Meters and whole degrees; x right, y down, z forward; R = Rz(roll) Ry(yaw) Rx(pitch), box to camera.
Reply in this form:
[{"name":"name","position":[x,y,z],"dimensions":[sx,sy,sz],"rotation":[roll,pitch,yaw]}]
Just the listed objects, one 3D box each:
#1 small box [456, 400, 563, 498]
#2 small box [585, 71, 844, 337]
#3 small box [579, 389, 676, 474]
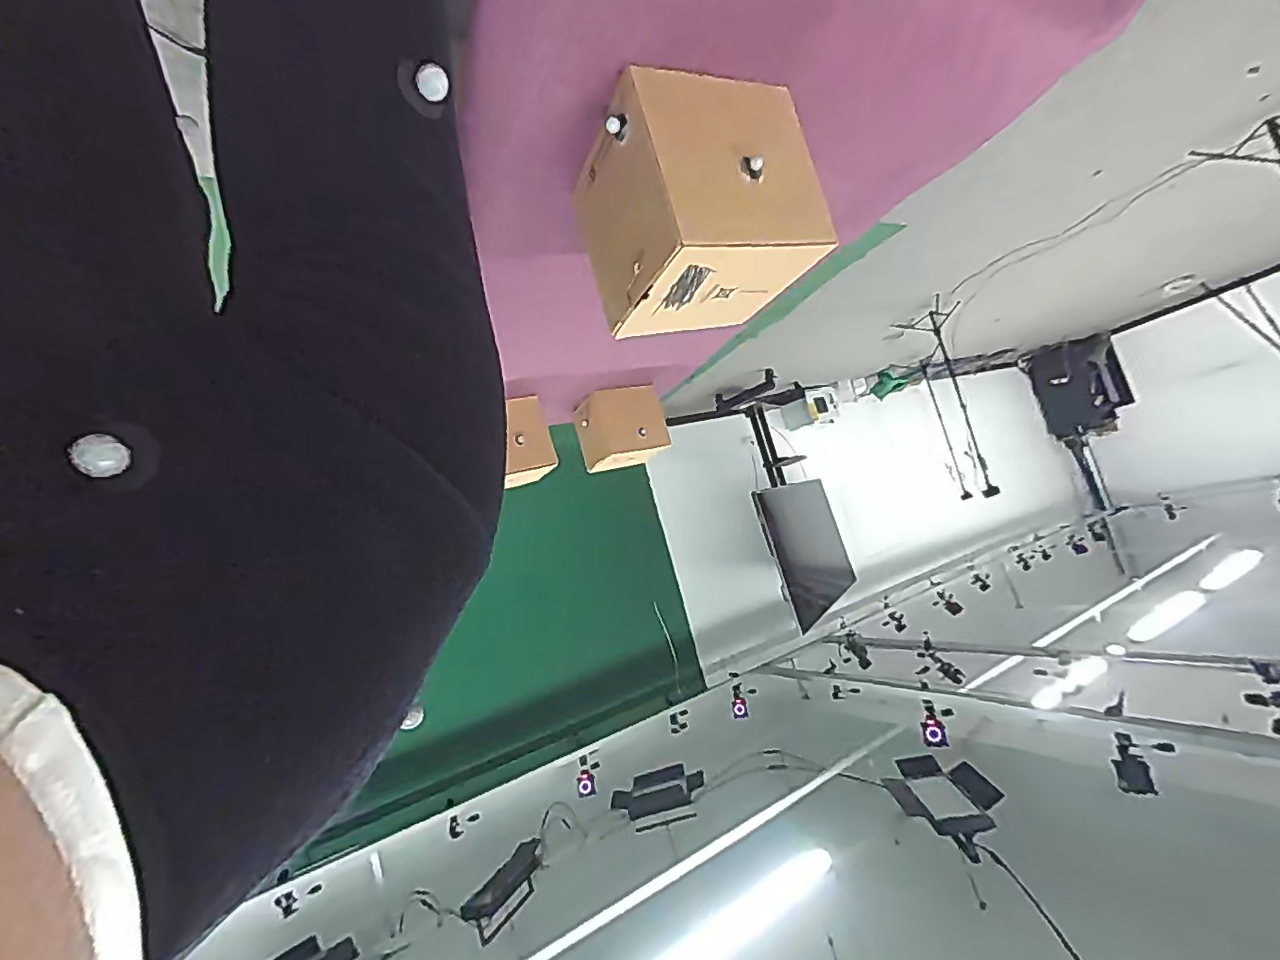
[{"name":"small box","position":[-0.303,-0.074,1.238],"dimensions":[0.179,0.176,0.168],"rotation":[-15,172,-29]},{"name":"small box","position":[0.061,-0.265,0.542],"dimensions":[0.179,0.176,0.168],"rotation":[-14,173,-25]},{"name":"small box","position":[-0.038,-0.129,1.399],"dimensions":[0.179,0.176,0.168],"rotation":[-11,169,-28]}]
